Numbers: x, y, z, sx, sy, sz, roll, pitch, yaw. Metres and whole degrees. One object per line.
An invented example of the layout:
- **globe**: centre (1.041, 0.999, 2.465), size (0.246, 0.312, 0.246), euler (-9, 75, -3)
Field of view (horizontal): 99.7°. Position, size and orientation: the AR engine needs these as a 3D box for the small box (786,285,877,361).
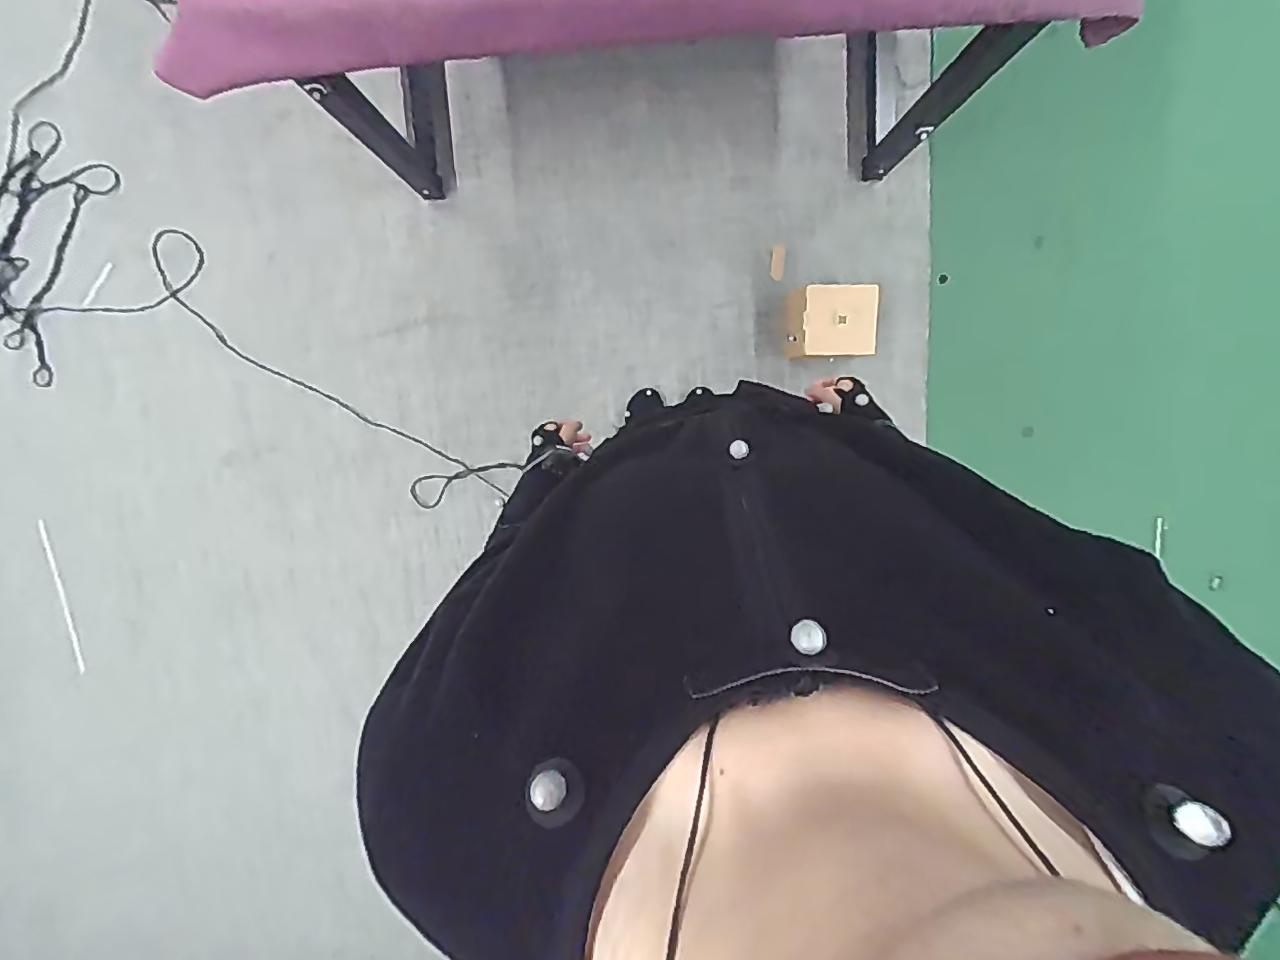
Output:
- **small box**: centre (0.476, -0.392, 1.371), size (0.179, 0.176, 0.168), euler (0, 99, 0)
